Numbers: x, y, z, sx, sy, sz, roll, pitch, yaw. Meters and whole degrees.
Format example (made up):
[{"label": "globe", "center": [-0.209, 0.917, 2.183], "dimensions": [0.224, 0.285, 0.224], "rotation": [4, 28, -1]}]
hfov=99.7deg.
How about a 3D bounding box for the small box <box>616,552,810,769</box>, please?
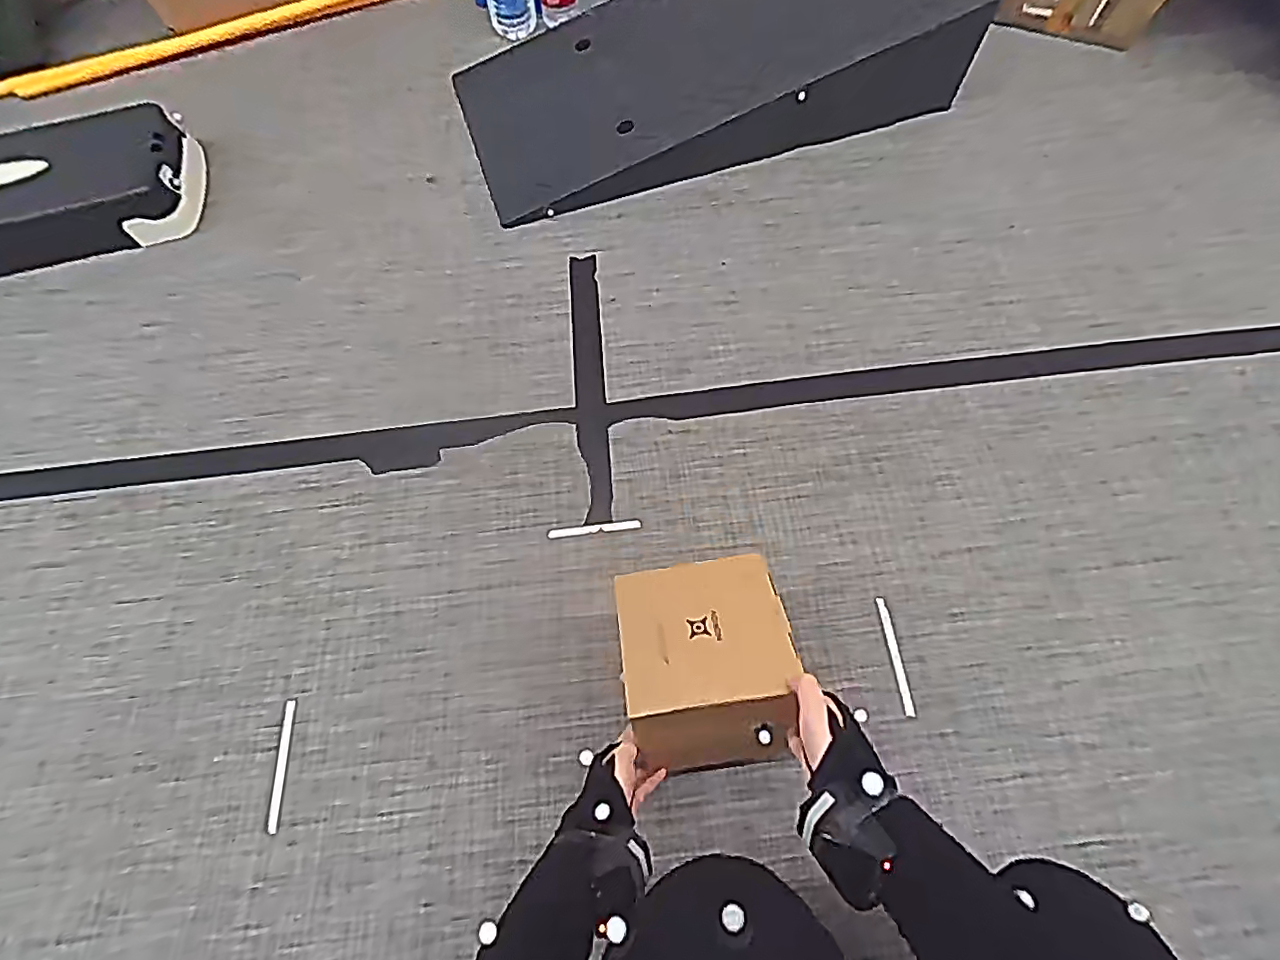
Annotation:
[{"label": "small box", "center": [0.073, 0.206, 0.611], "dimensions": [0.179, 0.176, 0.168], "rotation": [-9, 45, 0]}]
